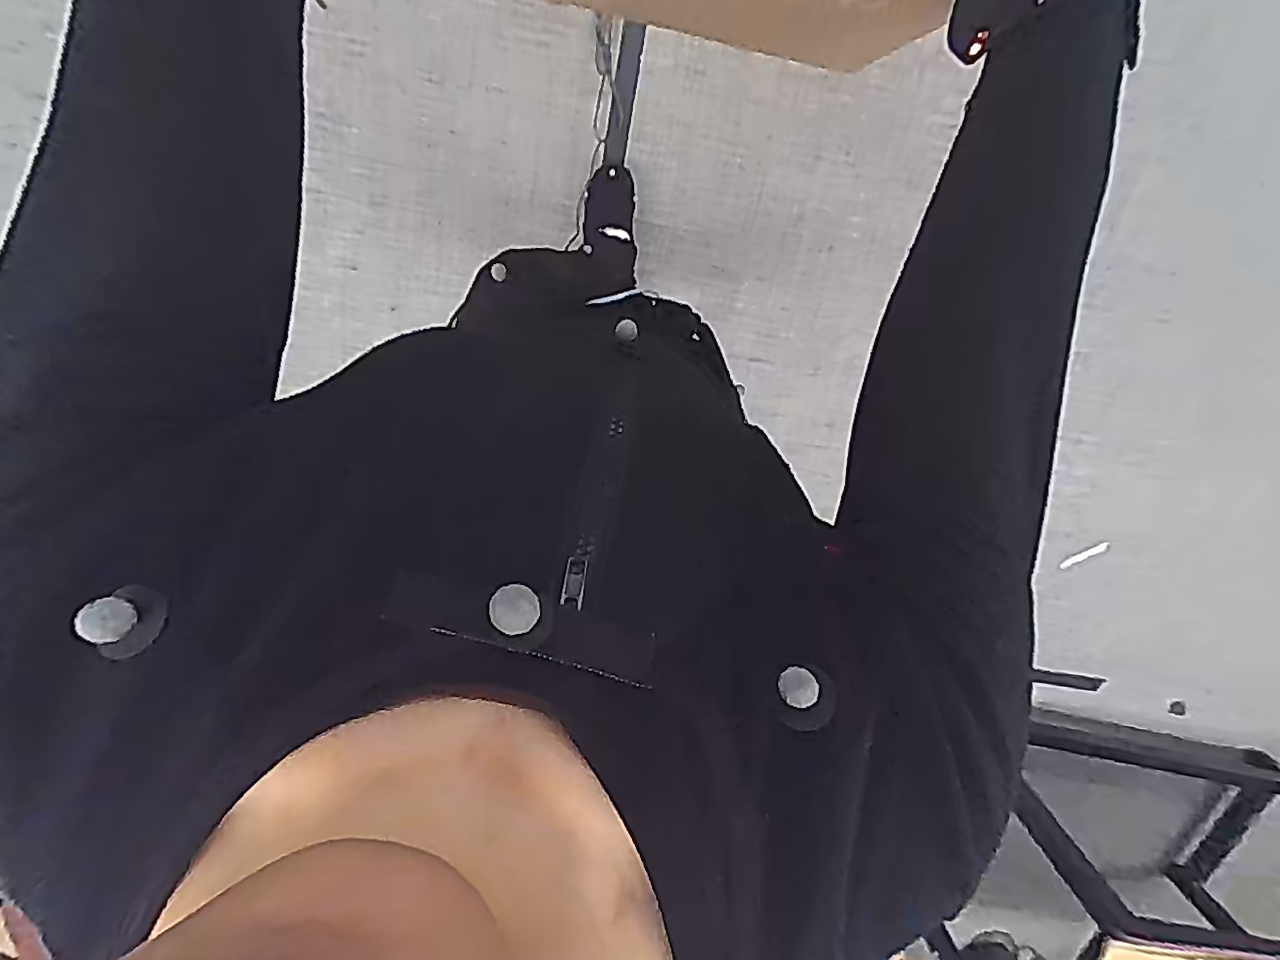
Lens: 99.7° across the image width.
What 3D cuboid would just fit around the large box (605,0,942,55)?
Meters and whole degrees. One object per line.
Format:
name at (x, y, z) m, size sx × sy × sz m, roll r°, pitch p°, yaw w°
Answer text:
large box at (0.069, -0.562, 0.390) m, size 0.408 × 0.320 × 0.320 m, roll 11°, pitch 121°, yaw -4°
